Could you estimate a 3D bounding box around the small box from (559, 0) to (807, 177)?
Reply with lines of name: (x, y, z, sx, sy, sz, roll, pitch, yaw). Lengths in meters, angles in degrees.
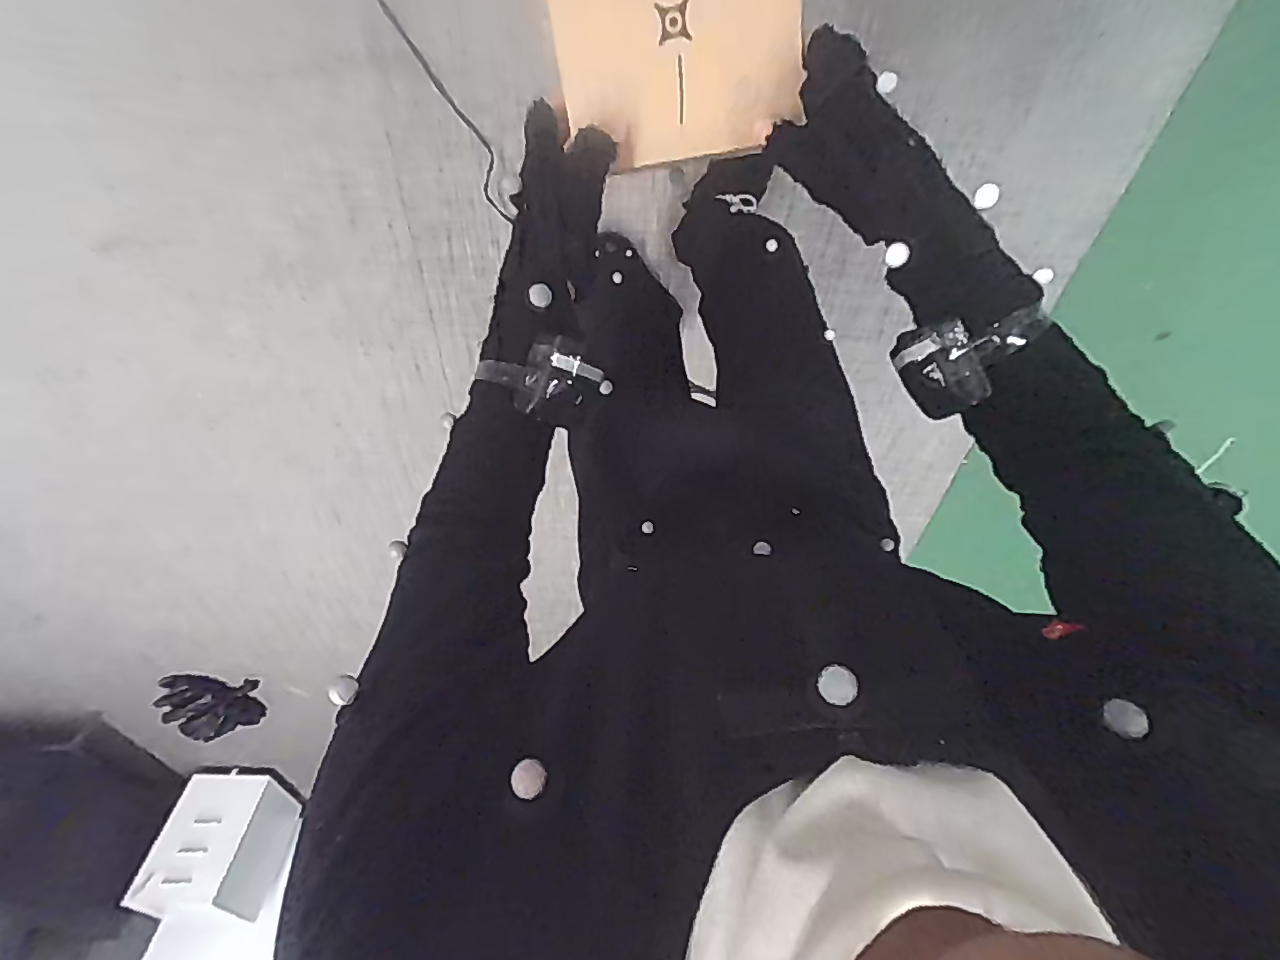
small box: (0.029, -0.351, 0.427, 0.168, 0.176, 0.179, -7, 118, 6)
